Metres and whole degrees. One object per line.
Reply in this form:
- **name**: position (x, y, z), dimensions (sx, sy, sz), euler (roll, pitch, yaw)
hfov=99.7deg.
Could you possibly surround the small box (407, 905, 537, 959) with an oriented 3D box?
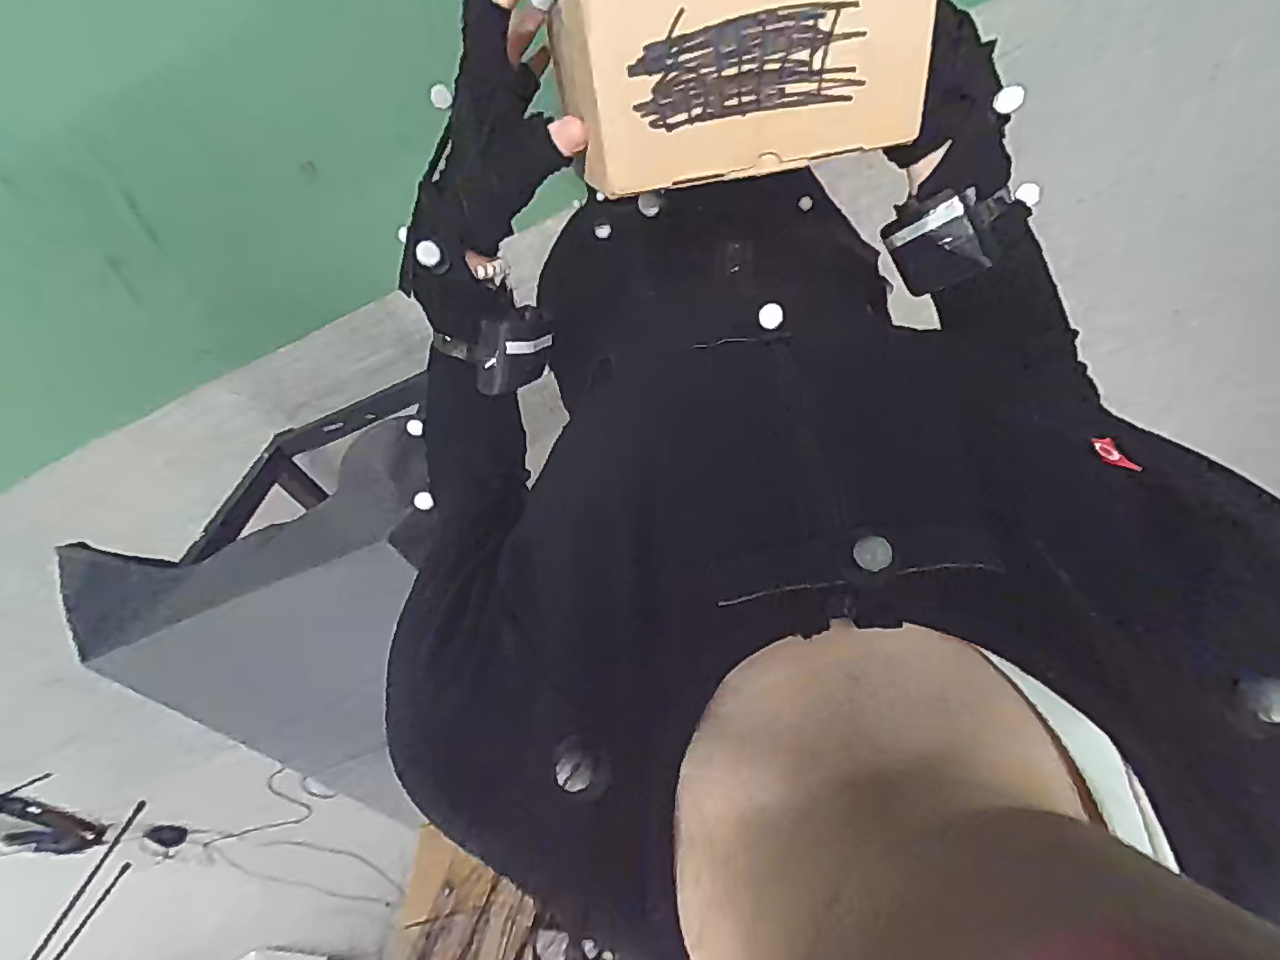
- **small box**: position (-0.288, 0.854, 0.919), dimensions (0.168, 0.176, 0.179), euler (-21, 127, 8)

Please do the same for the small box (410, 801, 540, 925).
- **small box**: position (-0.307, 0.758, 1.051), dimensions (0.179, 0.176, 0.168), euler (-22, 127, 9)
